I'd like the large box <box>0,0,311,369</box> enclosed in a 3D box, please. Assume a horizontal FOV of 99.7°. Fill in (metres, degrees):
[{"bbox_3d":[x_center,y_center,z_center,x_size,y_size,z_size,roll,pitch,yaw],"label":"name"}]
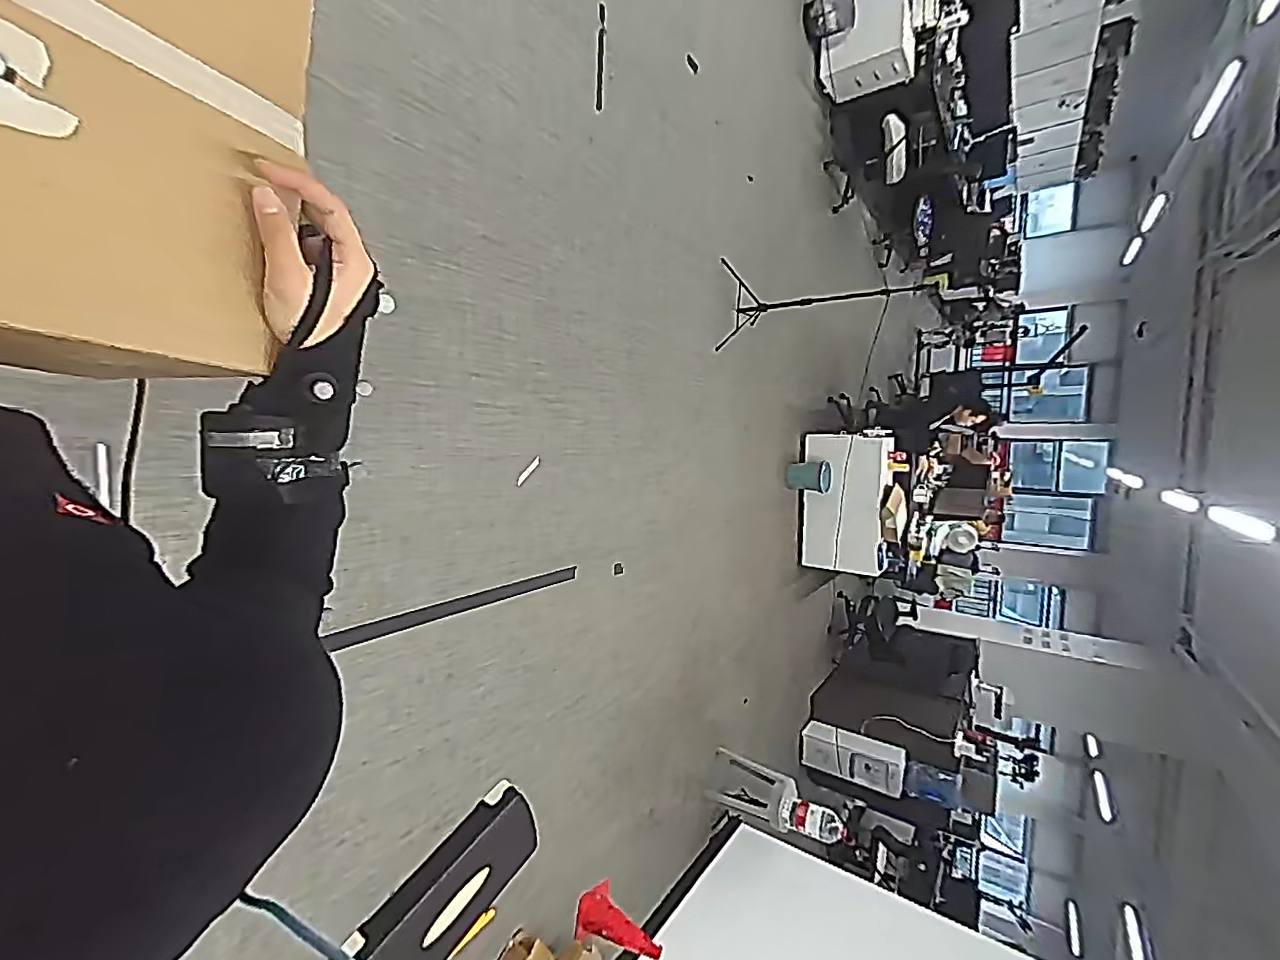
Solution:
[{"bbox_3d":[-0.459,-0.247,0.267,0.408,0.320,0.320,4,92,-61],"label":"large box"}]
